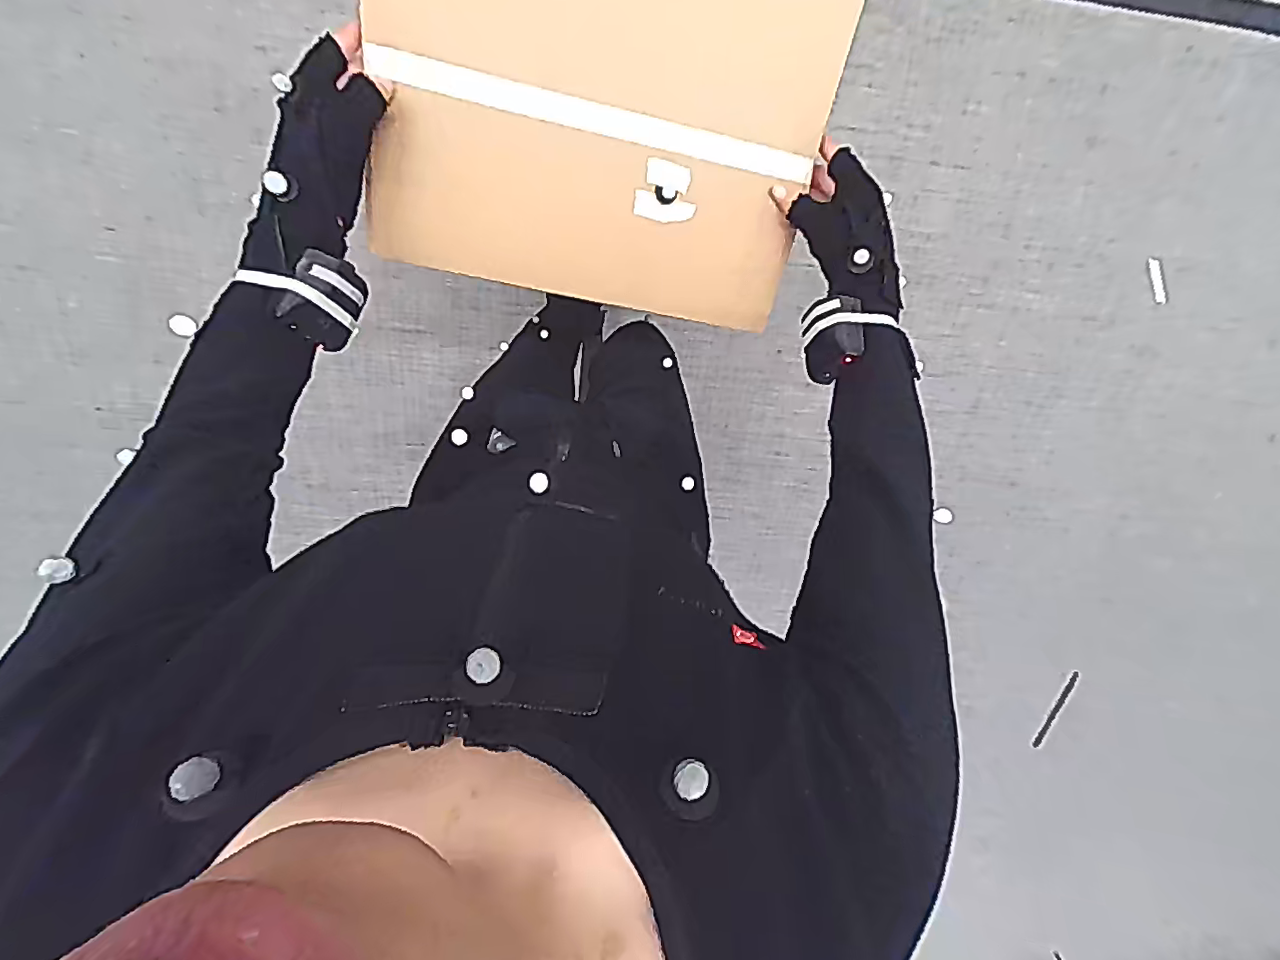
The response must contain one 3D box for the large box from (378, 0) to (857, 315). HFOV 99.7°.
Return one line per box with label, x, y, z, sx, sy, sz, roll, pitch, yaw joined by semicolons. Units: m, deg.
large box;-0.045;-0.406;0.620;0.408;0.320;0.320;8;118;-11
